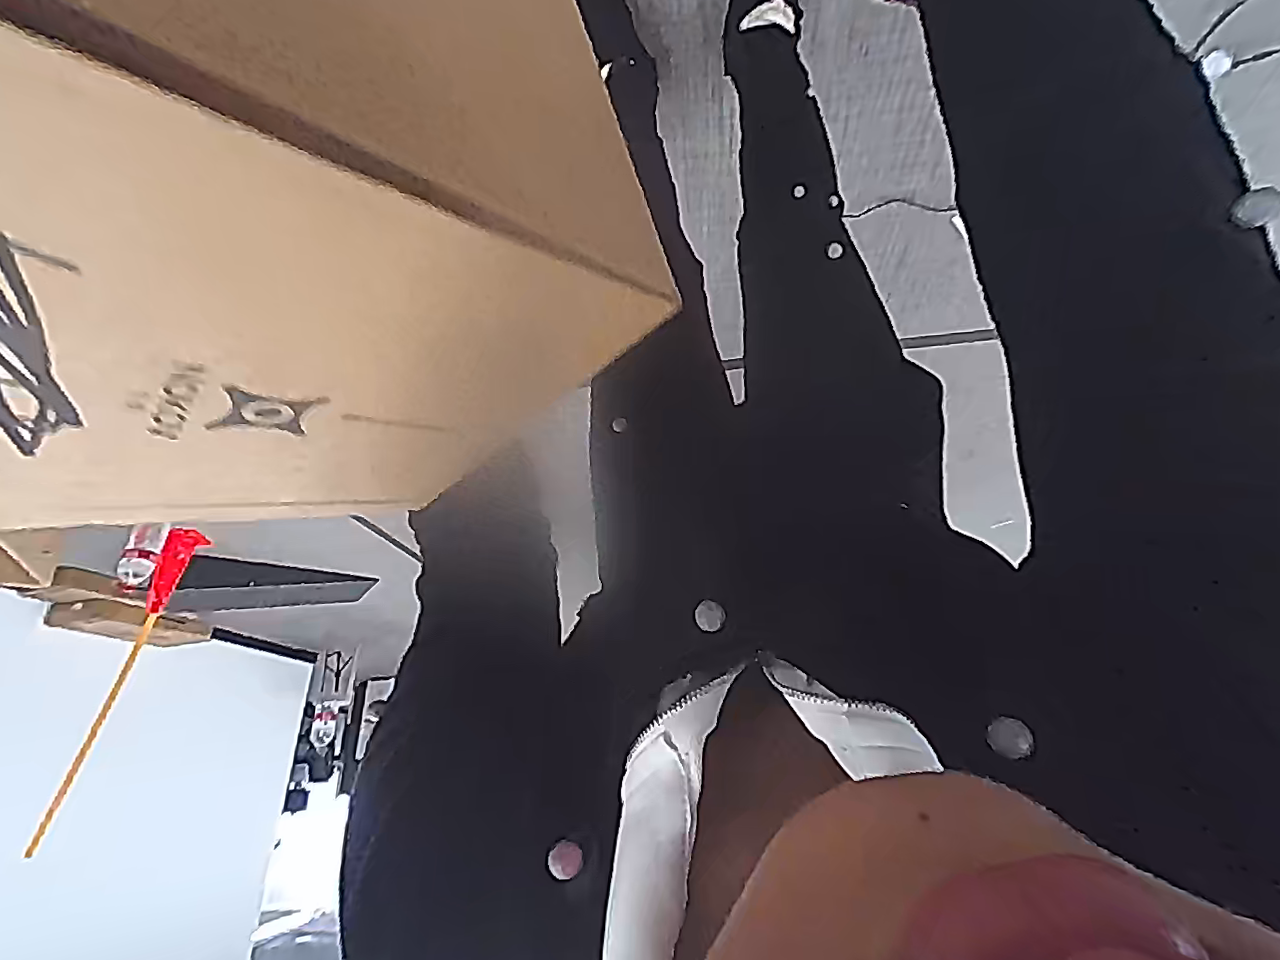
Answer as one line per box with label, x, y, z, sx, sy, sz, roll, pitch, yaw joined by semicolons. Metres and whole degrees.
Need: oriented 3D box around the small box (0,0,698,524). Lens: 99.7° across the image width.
small box;-0.118;-0.096;0.151;0.168;0.176;0.179;-28;160;36
